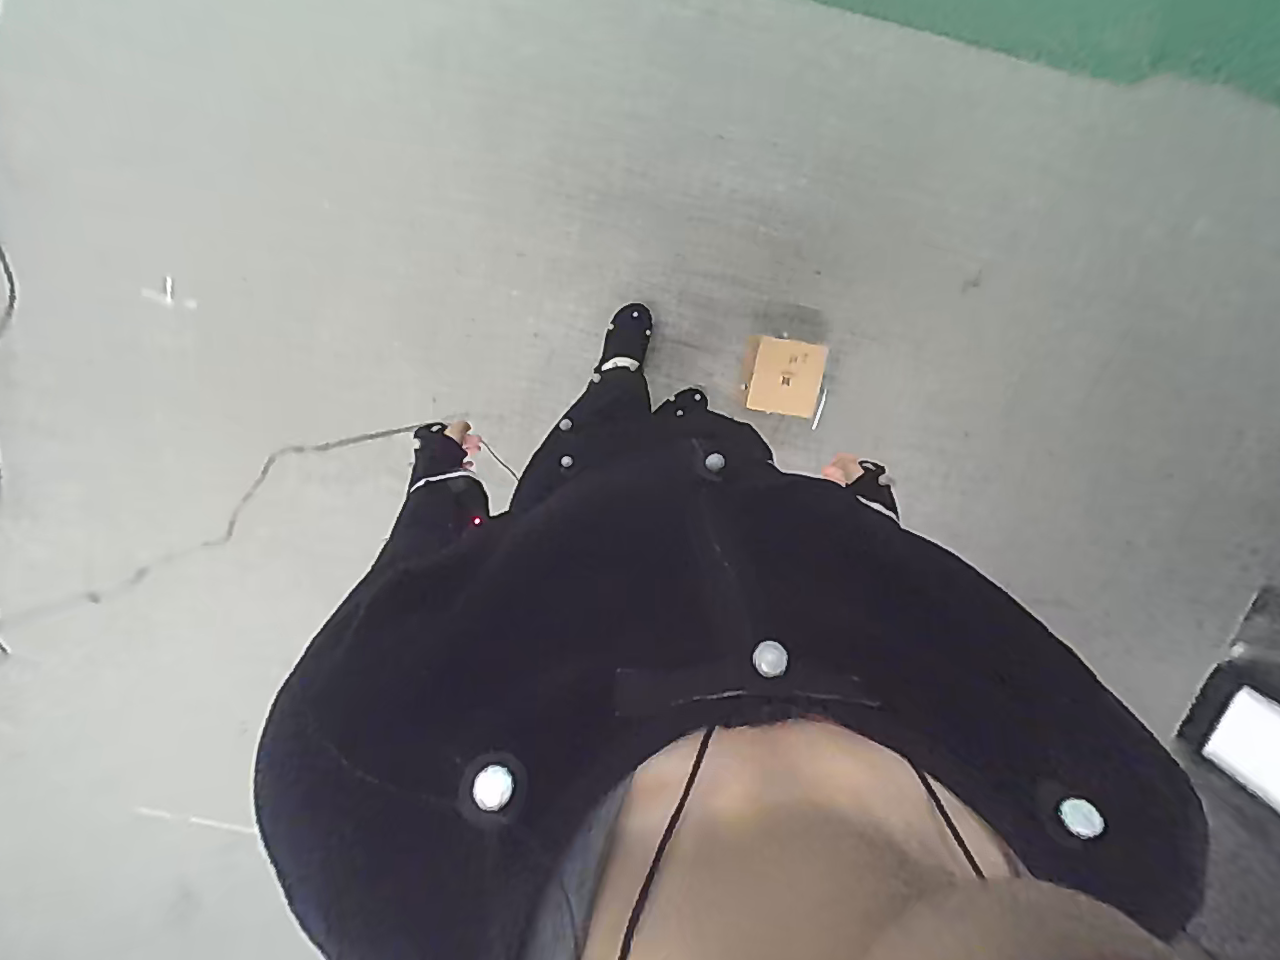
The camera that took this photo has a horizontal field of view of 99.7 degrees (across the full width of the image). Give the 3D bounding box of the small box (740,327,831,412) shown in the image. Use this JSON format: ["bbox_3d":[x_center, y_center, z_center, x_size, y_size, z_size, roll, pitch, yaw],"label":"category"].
[{"bbox_3d":[0.353,-0.279,1.354,0.168,0.176,0.179,10,105,-1],"label":"small box"}]
